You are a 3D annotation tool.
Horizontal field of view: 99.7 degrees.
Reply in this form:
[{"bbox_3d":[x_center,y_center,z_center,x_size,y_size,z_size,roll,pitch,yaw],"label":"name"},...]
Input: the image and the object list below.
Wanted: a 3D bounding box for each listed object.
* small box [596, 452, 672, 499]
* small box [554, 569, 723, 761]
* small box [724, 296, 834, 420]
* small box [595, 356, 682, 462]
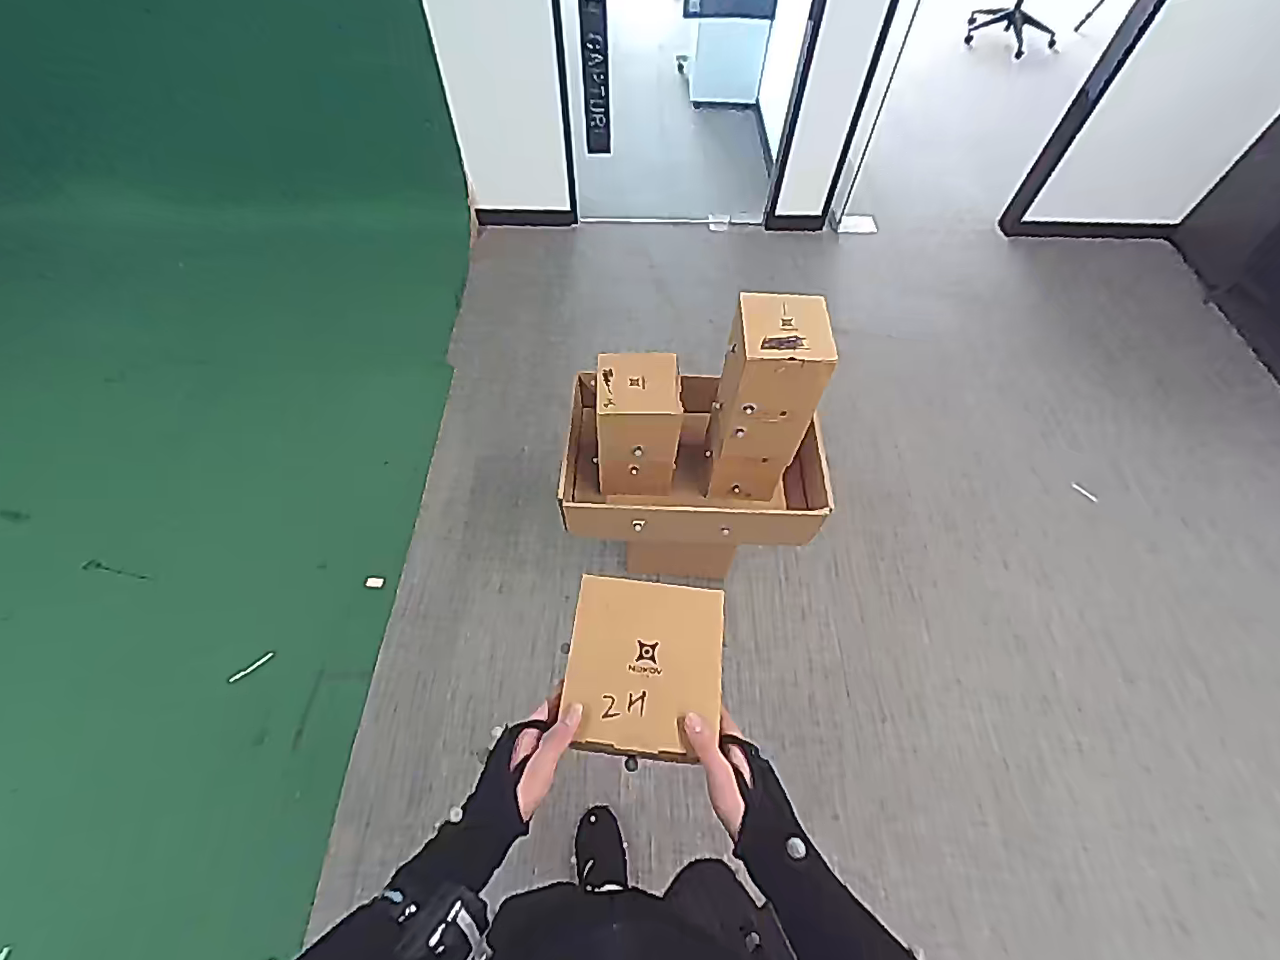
[{"bbox_3d":[-0.014,-0.065,1.330,0.179,0.176,0.168,2,58,-2],"label":"small box"},{"bbox_3d":[0.000,0.226,0.648,0.168,0.176,0.179,7,61,2],"label":"small box"},{"bbox_3d":[0.261,-0.234,1.058,0.168,0.176,0.179,3,57,-1],"label":"small box"},{"bbox_3d":[-0.008,-0.152,1.191,0.179,0.176,0.168,0,58,-3],"label":"small box"}]
